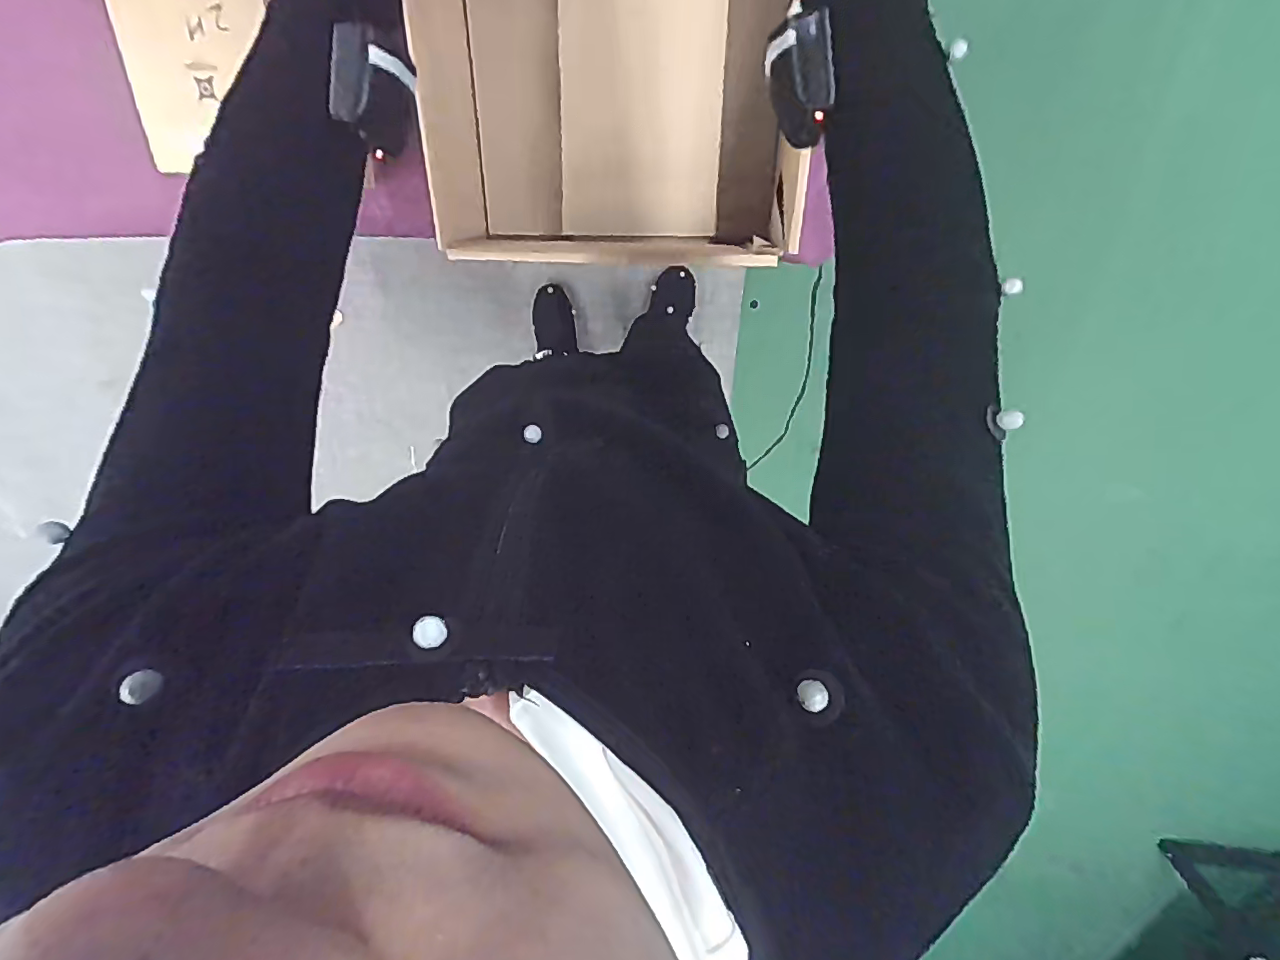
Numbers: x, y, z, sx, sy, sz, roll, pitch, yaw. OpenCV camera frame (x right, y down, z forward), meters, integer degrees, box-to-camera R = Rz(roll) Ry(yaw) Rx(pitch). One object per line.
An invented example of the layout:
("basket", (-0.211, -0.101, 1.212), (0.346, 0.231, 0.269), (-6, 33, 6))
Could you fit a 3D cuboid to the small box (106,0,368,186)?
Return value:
("small box", (-0.447, -0.449, 0.634), (0.168, 0.176, 0.179), (3, 115, 2))
